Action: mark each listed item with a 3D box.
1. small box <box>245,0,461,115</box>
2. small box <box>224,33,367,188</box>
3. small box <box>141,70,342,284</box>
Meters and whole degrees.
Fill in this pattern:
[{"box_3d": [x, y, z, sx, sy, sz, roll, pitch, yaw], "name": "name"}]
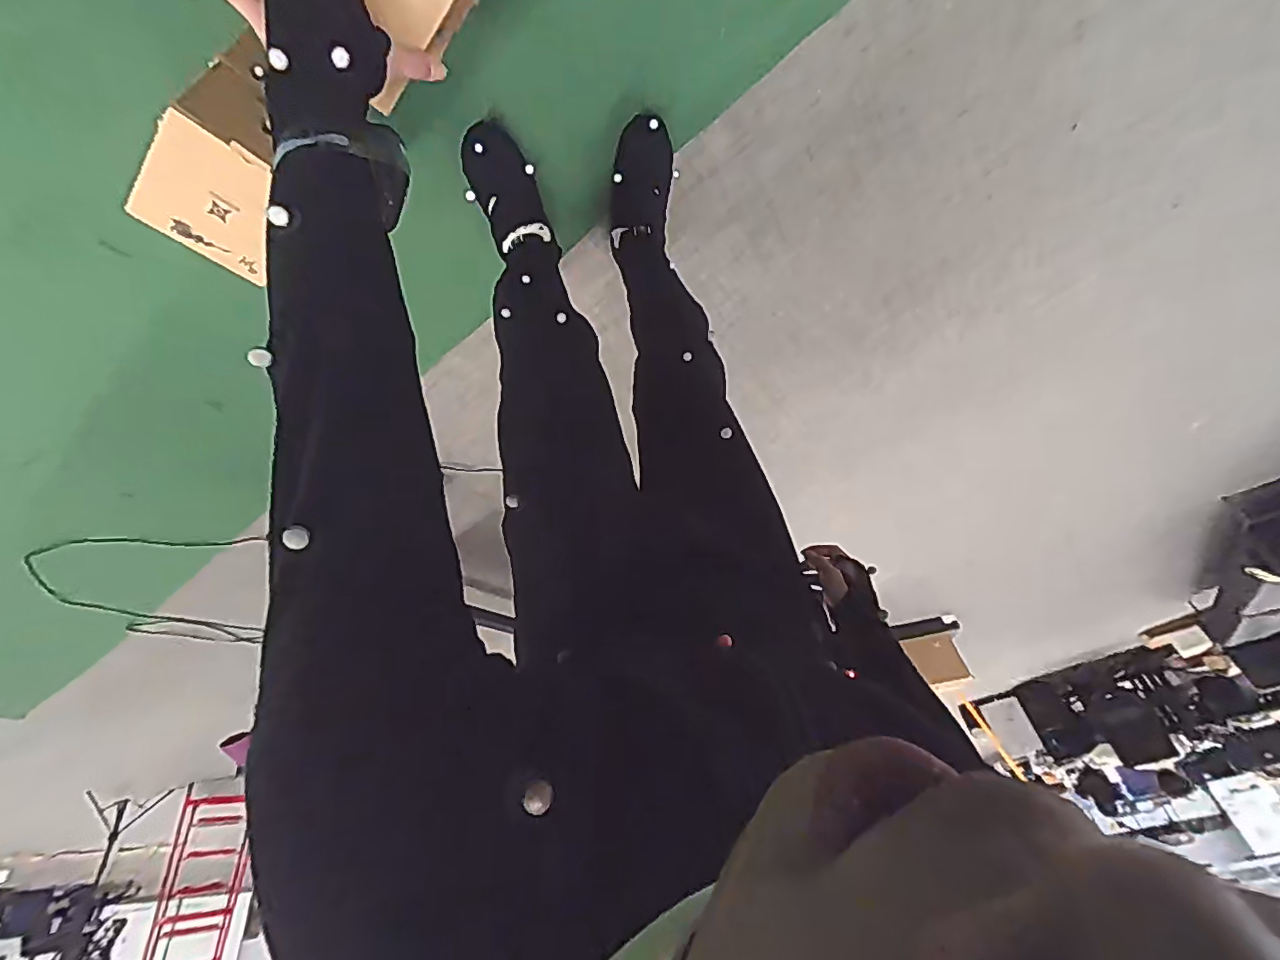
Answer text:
[{"box_3d": [-0.252, -0.494, 0.489, 0.179, 0.176, 0.168, -36, 135, 29], "name": "small box"}, {"box_3d": [-0.571, -0.559, 0.870, 0.168, 0.176, 0.179, -31, 137, 26], "name": "small box"}, {"box_3d": [-0.552, -0.430, 0.771, 0.179, 0.176, 0.168, -34, 136, 27], "name": "small box"}]
